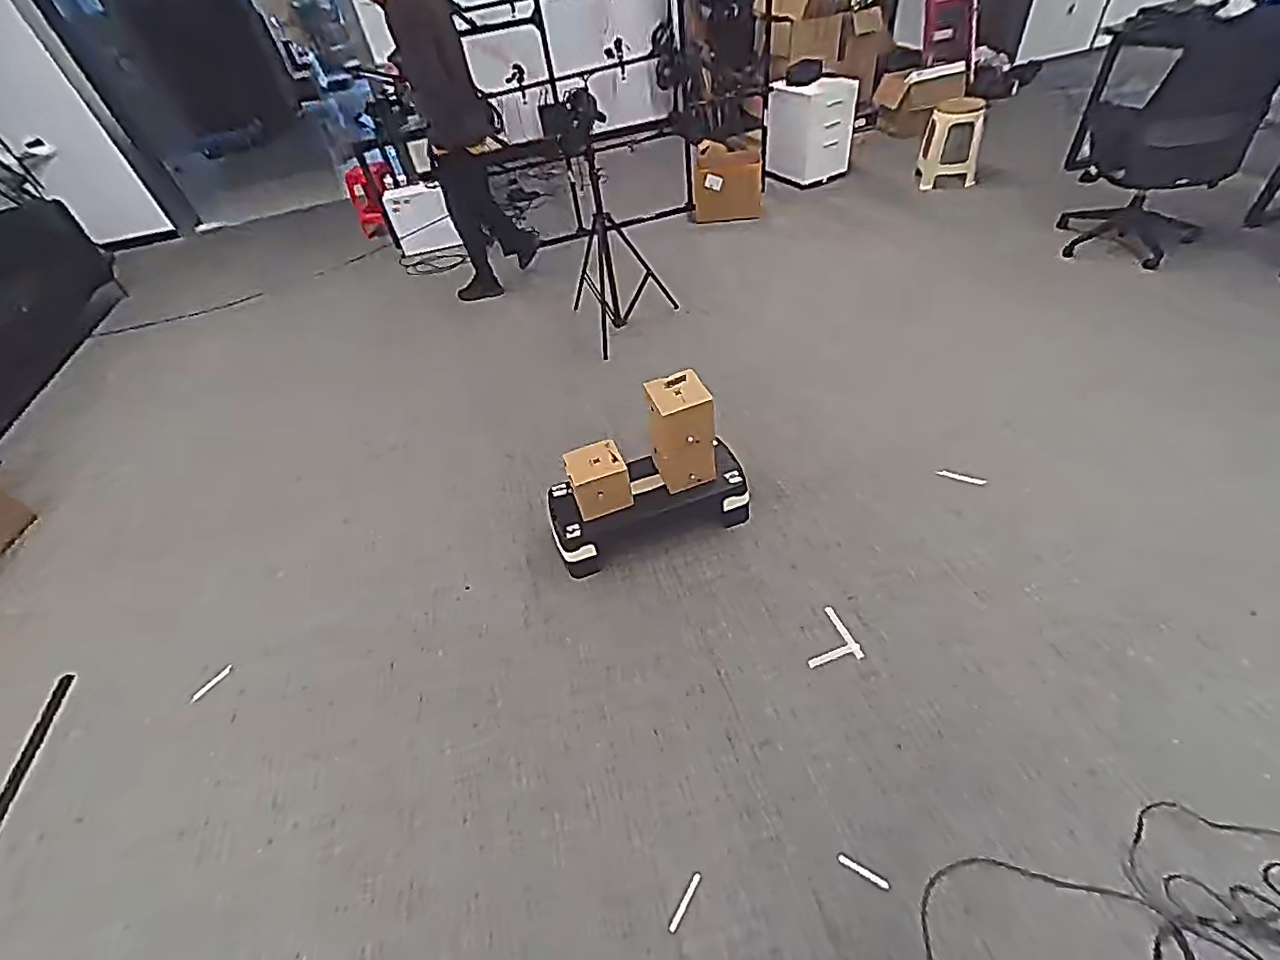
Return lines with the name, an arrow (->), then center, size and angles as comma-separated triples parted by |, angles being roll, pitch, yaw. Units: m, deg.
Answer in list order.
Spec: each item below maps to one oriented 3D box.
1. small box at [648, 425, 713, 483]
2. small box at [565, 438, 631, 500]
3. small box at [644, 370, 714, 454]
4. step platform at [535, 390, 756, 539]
small box -> 0.137, -0.093, 1.810 | 0.168, 0.176, 0.179 | -19, 46, -7
small box -> -0.137, -0.002, 1.772 | 0.179, 0.176, 0.168 | -19, 46, -9
small box -> 0.123, -0.212, 1.697 | 0.168, 0.176, 0.179 | -19, 47, -8
step platform -> 0.020, -0.053, 1.743 | 0.684, 0.204, 0.286 | -18, 45, -8
